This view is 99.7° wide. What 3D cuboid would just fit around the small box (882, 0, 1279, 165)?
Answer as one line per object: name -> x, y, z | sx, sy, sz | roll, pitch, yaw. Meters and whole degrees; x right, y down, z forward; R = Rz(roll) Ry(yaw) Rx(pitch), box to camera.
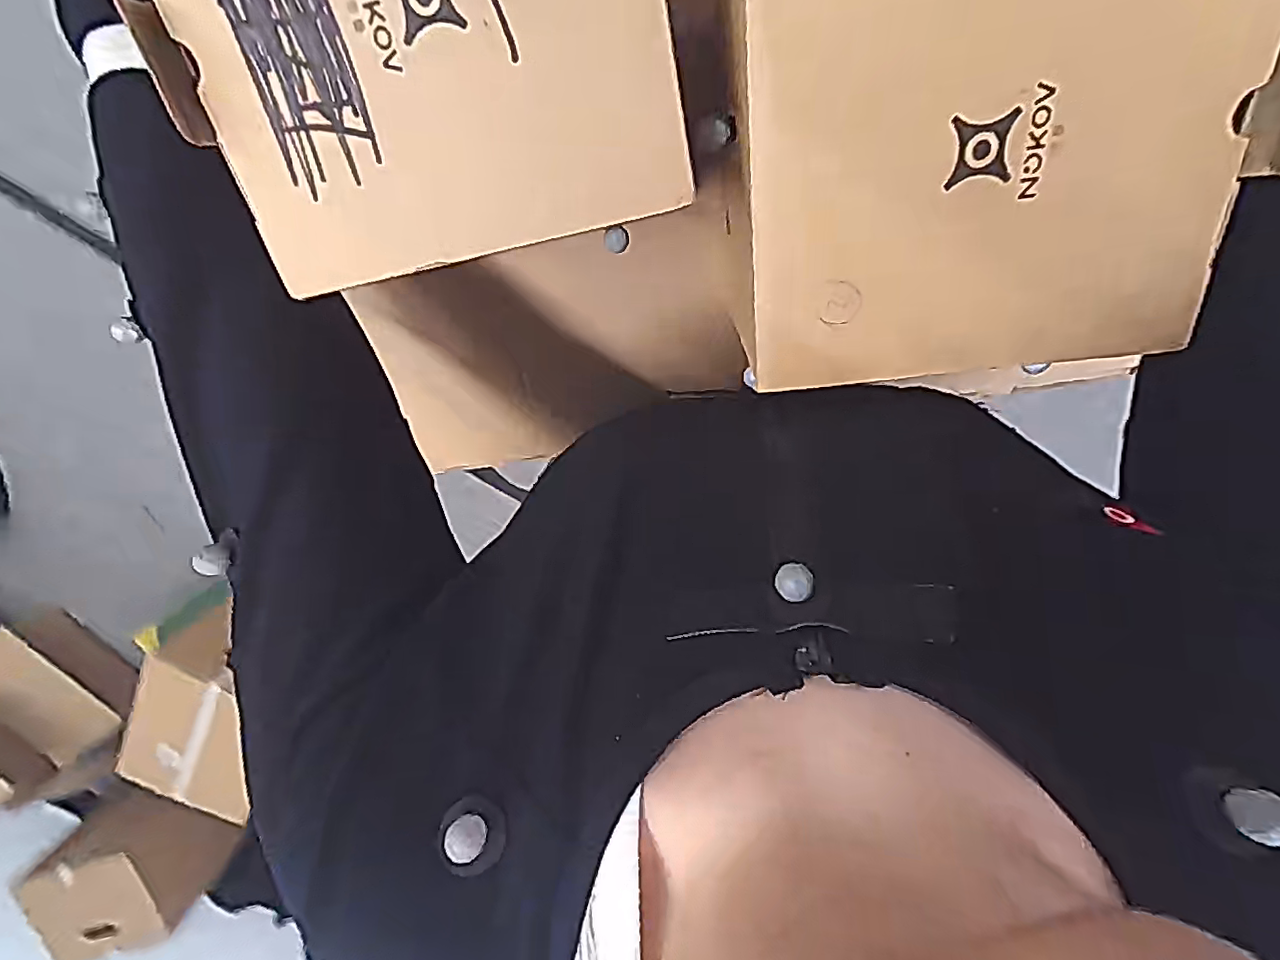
small box -> 0.228, -0.225, 0.205 | 0.179, 0.176, 0.168 | 8, 125, -2
